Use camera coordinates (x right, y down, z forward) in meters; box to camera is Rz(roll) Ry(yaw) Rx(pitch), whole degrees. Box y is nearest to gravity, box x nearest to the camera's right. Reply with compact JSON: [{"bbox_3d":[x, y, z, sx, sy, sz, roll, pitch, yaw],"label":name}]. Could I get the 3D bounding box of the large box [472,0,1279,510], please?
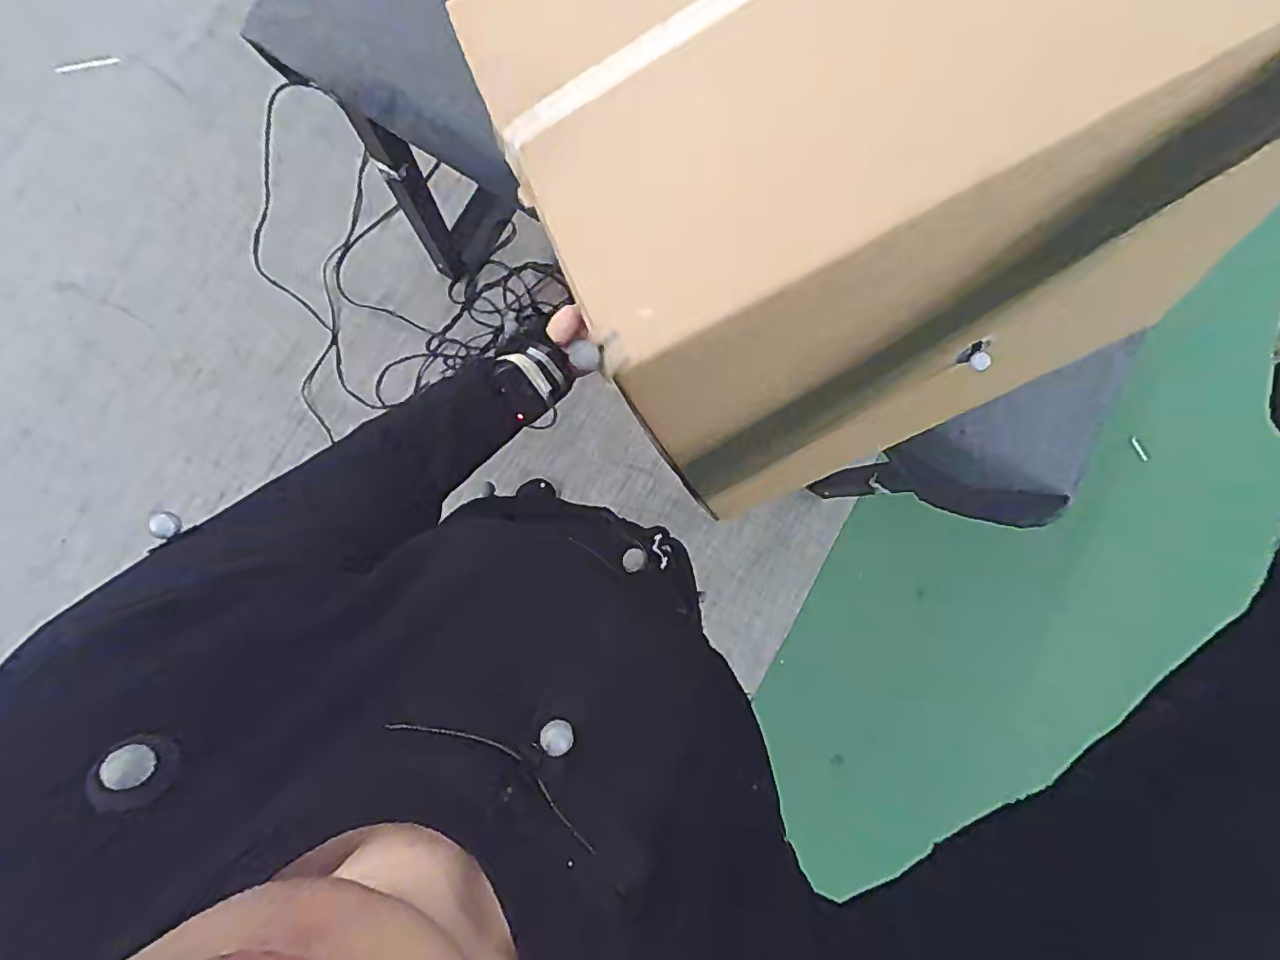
[{"bbox_3d":[0.163,-0.224,0.412,0.408,0.320,0.320,-28,67,9],"label":"large box"}]
